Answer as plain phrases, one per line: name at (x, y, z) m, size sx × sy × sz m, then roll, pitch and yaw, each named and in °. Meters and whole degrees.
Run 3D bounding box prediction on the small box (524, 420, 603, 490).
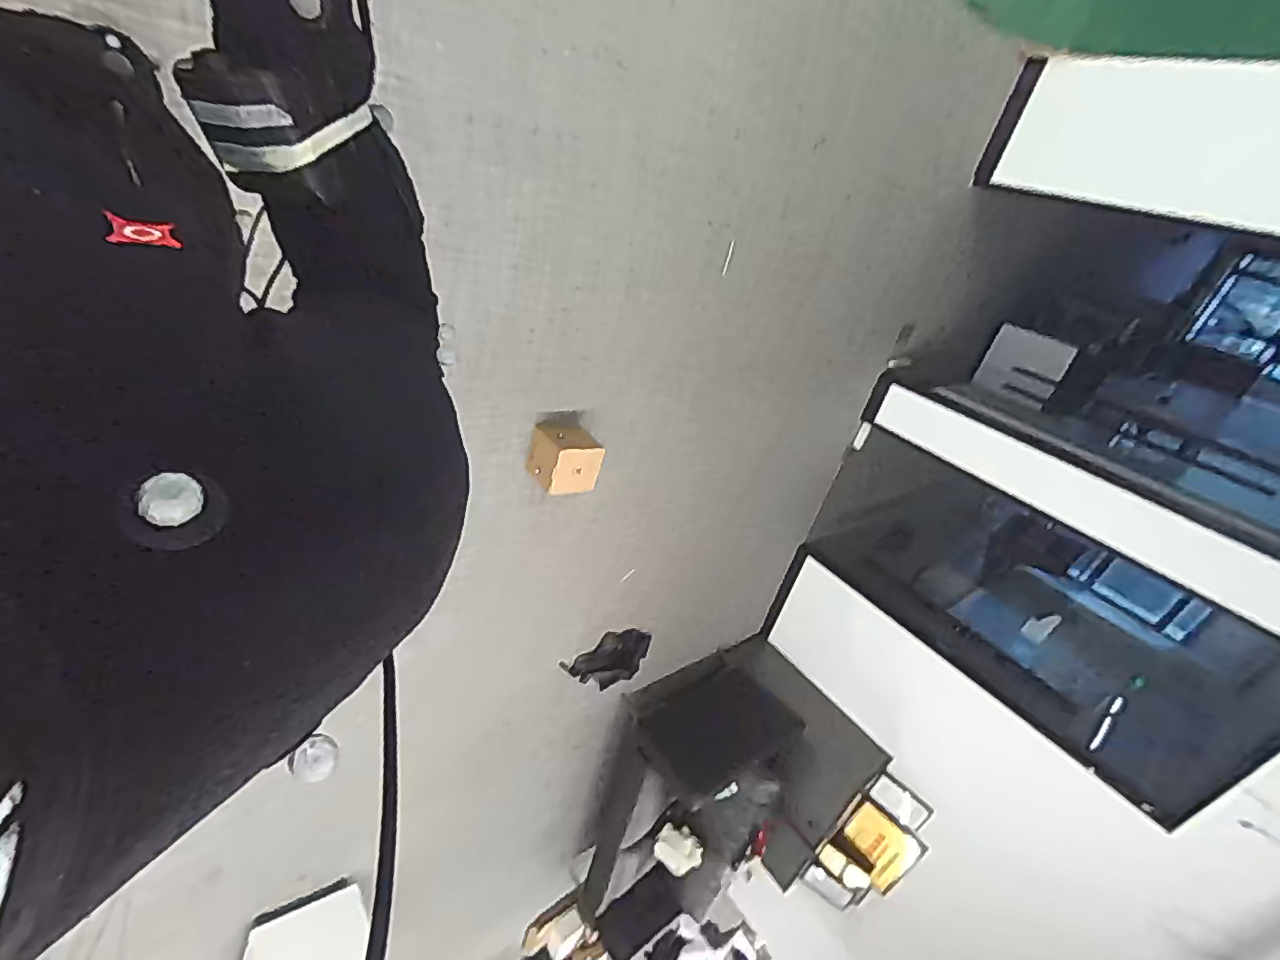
small box at (-0.254, -0.085, 1.751) m, size 0.179 × 0.176 × 0.168 m, roll -8°, pitch 128°, yaw -41°
